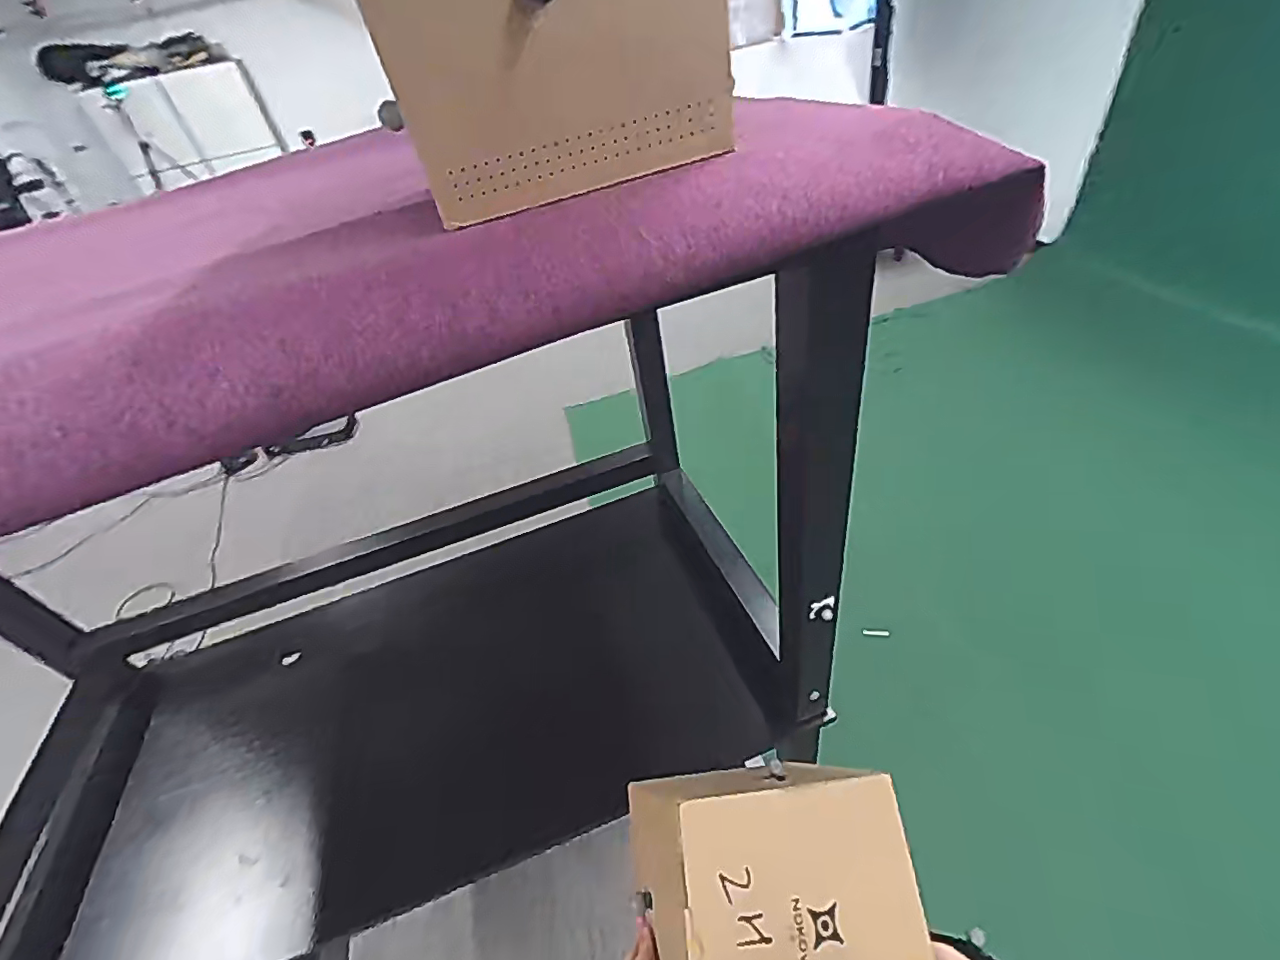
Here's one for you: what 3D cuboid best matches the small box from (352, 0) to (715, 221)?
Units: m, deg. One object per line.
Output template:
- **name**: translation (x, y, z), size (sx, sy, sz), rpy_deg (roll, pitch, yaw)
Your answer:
- **small box**: translation (-0.064, -0.274, 0.313), size (0.179, 0.176, 0.168), rpy_deg (-20, 40, -6)
